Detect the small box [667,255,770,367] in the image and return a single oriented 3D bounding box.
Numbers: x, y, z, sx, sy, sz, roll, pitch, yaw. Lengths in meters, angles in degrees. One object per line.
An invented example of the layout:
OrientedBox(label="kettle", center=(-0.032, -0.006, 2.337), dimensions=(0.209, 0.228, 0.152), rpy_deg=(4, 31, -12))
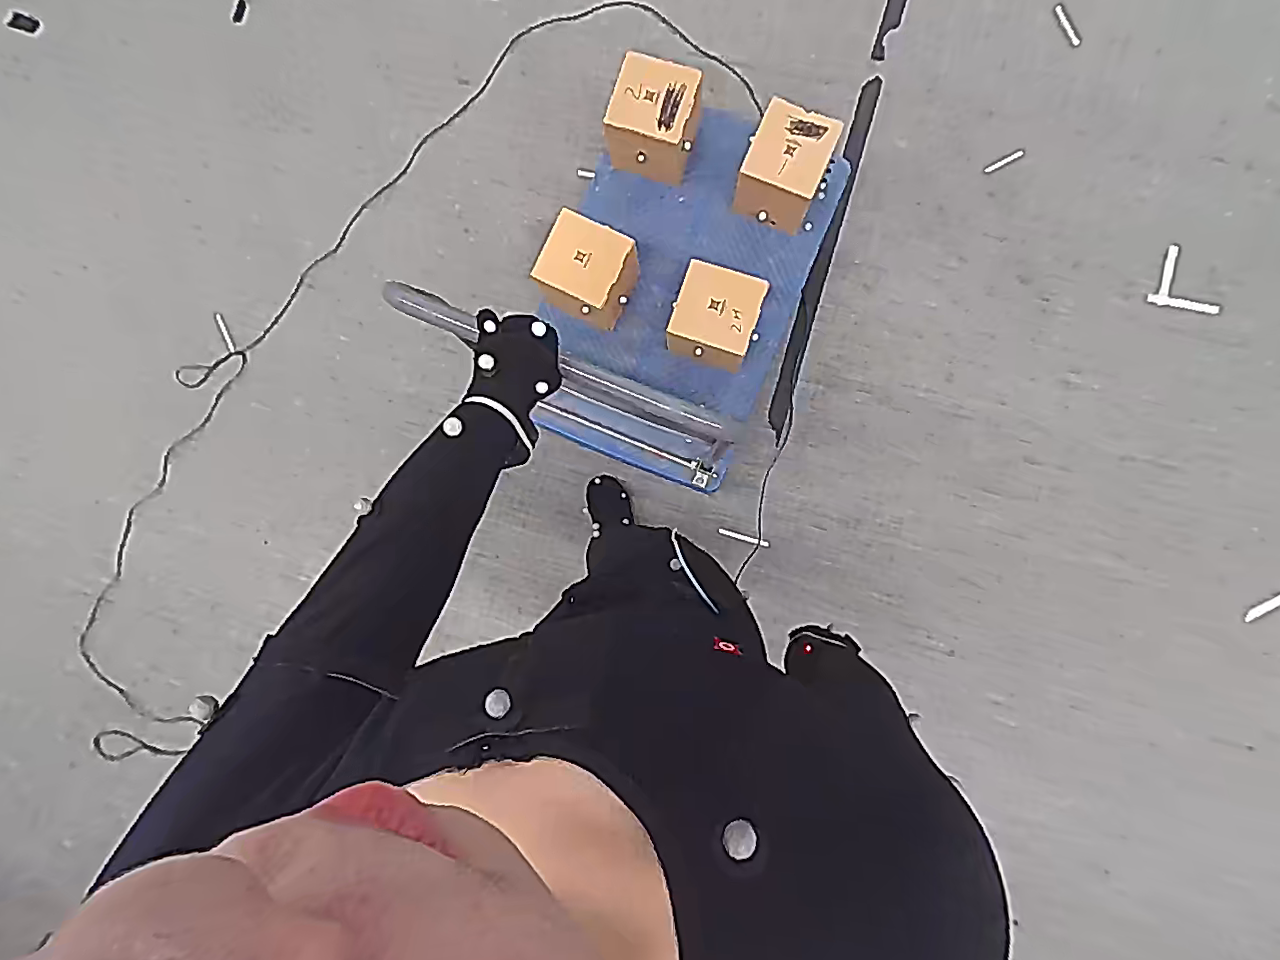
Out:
OrientedBox(label="small box", center=(0.169, -0.368, 1.212), dimensions=(0.179, 0.176, 0.168), rpy_deg=(20, 90, 4))

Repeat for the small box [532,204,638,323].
OrientedBox(label="small box", center=(-0.117, -0.483, 1.236), dimensions=(0.179, 0.176, 0.168), rpy_deg=(26, 90, 3))

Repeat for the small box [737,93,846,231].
OrientedBox(label="small box", center=(0.326, -0.700, 1.208), dimensions=(0.168, 0.176, 0.179), rpy_deg=(25, 92, 4))
